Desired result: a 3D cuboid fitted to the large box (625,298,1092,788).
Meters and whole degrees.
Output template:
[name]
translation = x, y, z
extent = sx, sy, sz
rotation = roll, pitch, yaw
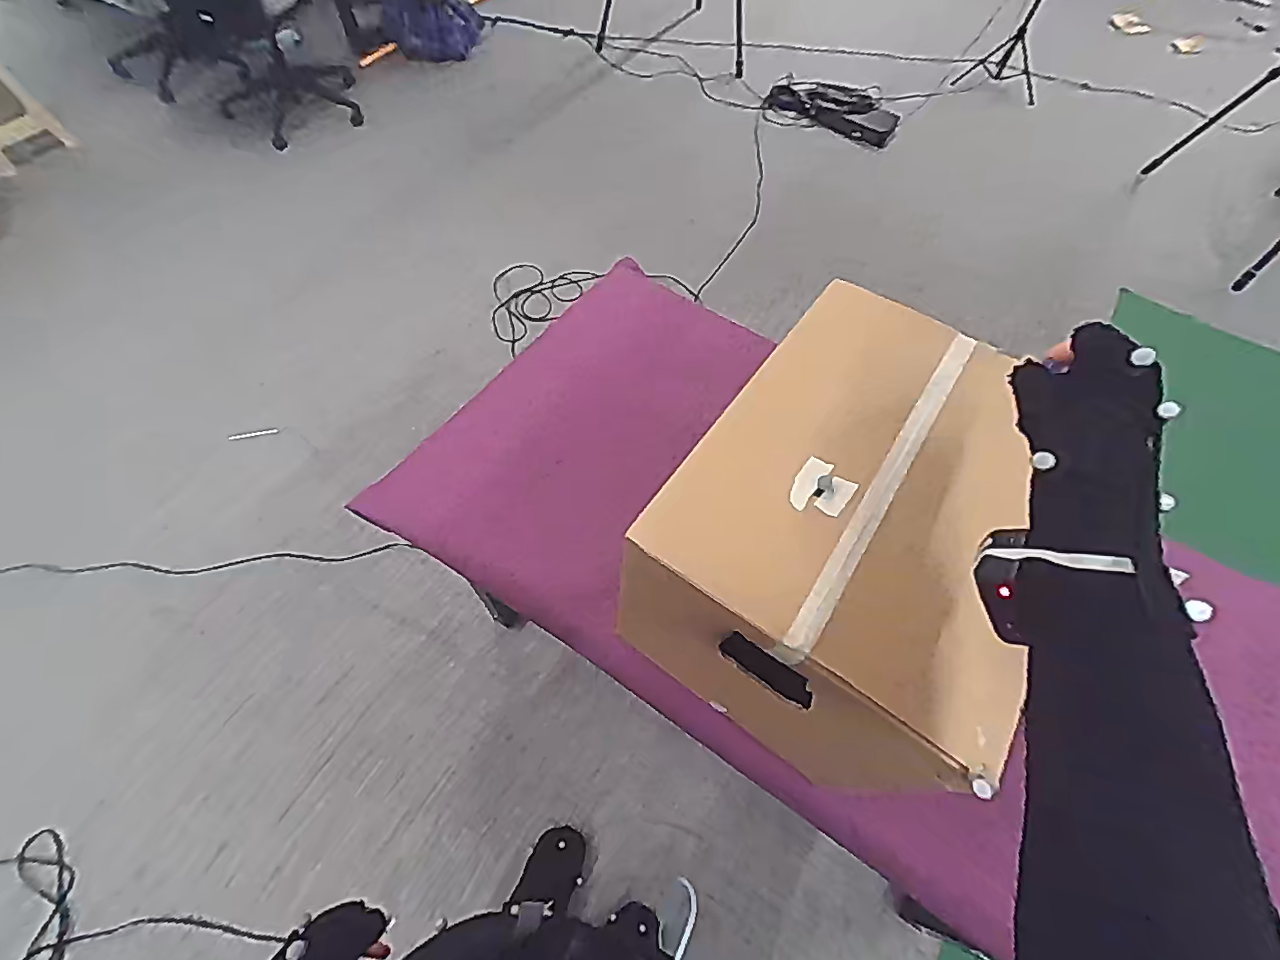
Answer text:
[large box]
translation = 0.222, 0.076, 0.637
extent = 0.320, 0.320, 0.408
rotation = 33, 64, 15
